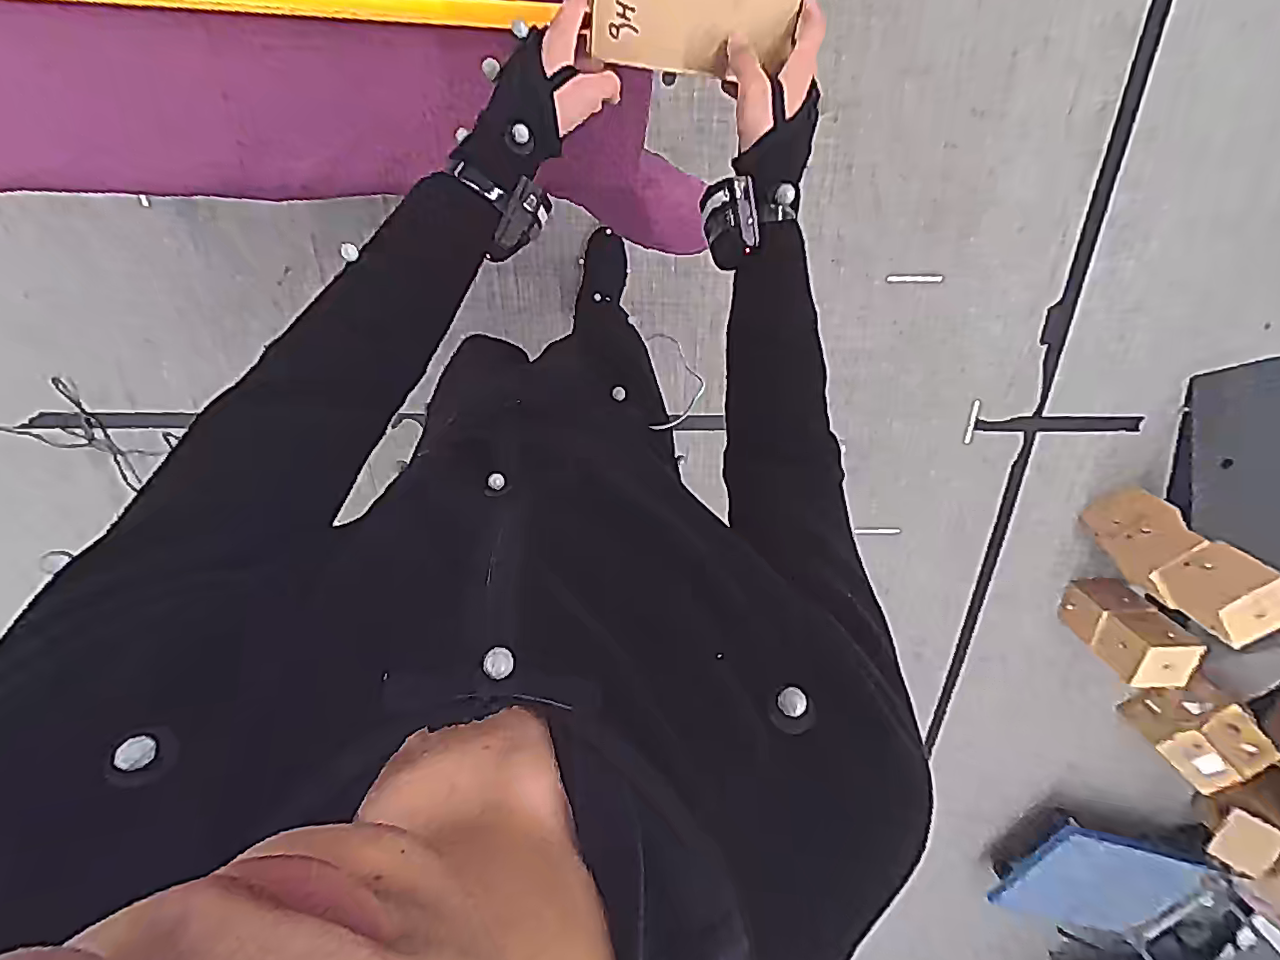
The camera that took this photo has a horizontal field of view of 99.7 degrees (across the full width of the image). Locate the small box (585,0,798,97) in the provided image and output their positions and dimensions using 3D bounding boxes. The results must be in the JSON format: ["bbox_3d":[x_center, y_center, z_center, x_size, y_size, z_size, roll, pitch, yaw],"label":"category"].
[{"bbox_3d":[0.043,-0.471,0.493,0.179,0.176,0.168,2,131,-9],"label":"small box"}]
